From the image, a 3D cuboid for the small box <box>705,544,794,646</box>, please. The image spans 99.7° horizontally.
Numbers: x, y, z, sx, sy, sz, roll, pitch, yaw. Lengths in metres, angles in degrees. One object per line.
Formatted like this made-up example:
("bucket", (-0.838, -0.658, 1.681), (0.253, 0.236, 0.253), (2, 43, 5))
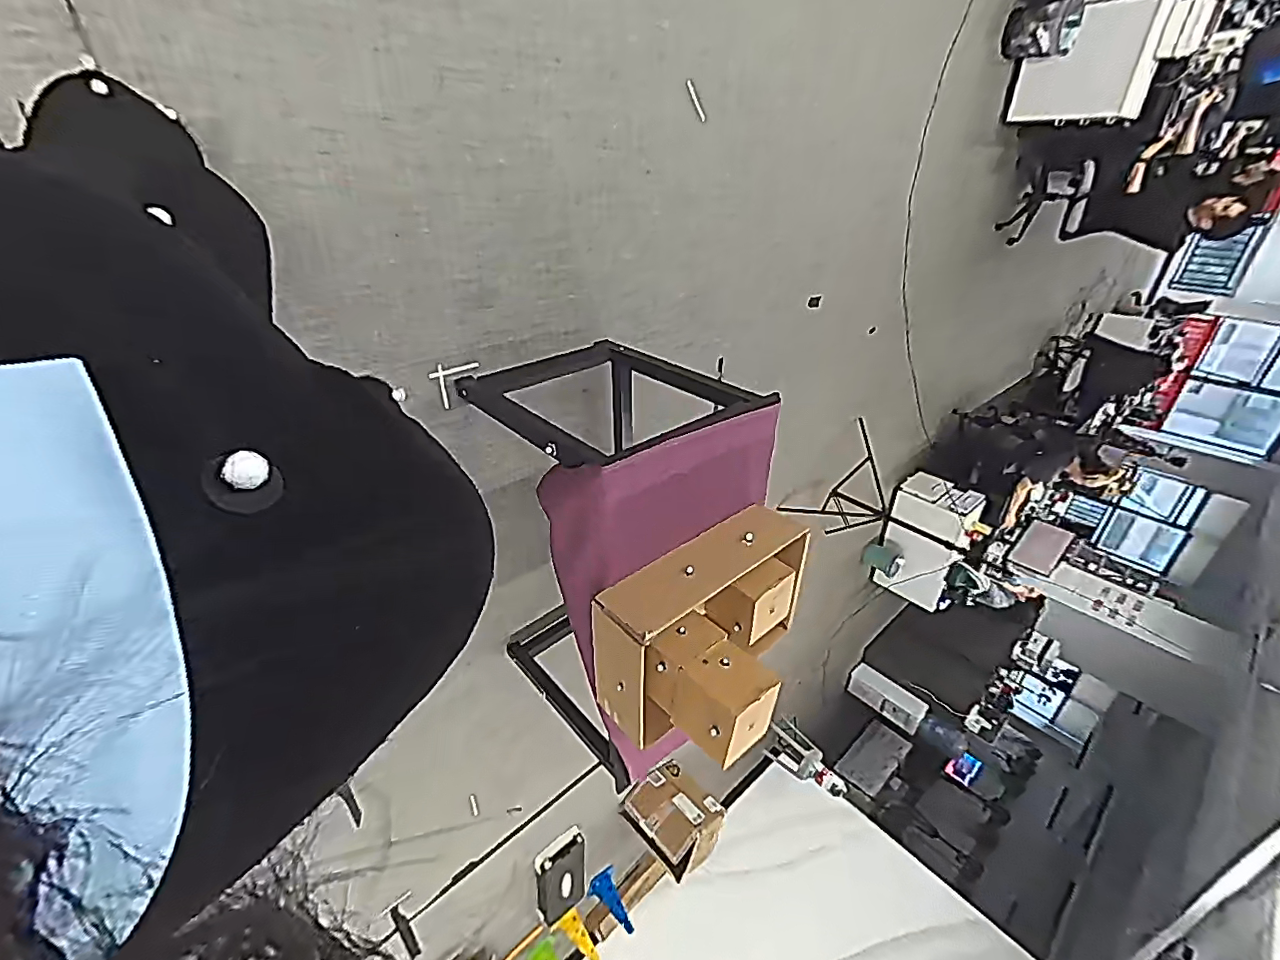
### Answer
("small box", (0.294, 0.308, 1.480), (0.168, 0.176, 0.179), (-27, 131, -32))
